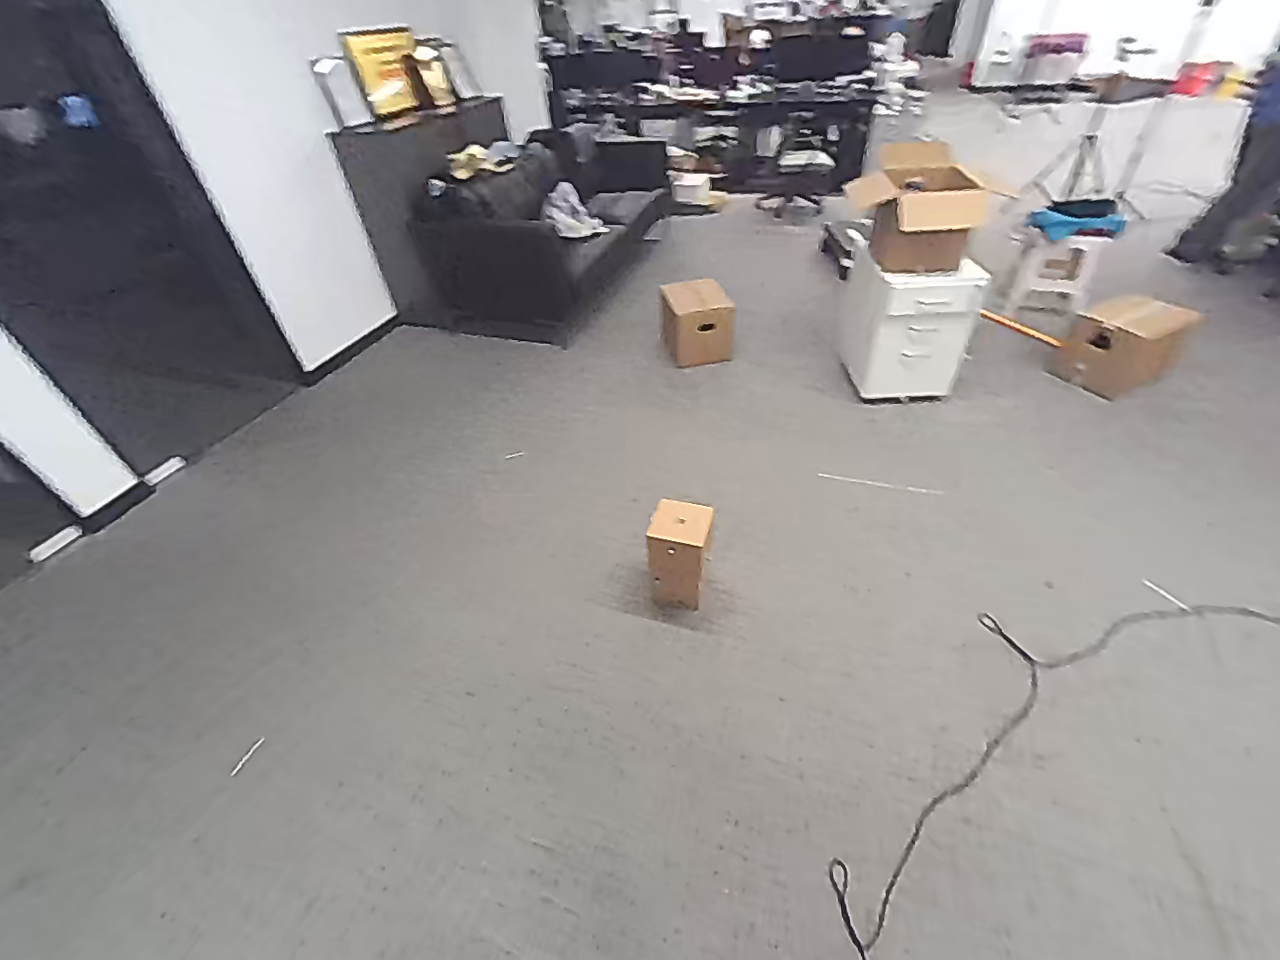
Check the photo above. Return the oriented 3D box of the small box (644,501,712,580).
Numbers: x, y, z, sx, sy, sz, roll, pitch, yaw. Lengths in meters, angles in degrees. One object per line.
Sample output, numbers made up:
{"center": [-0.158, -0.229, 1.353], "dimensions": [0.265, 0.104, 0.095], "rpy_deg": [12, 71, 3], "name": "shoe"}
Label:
{"center": [0.122, 0.191, 1.694], "dimensions": [0.179, 0.176, 0.168], "rpy_deg": [10, 44, 15], "name": "small box"}
